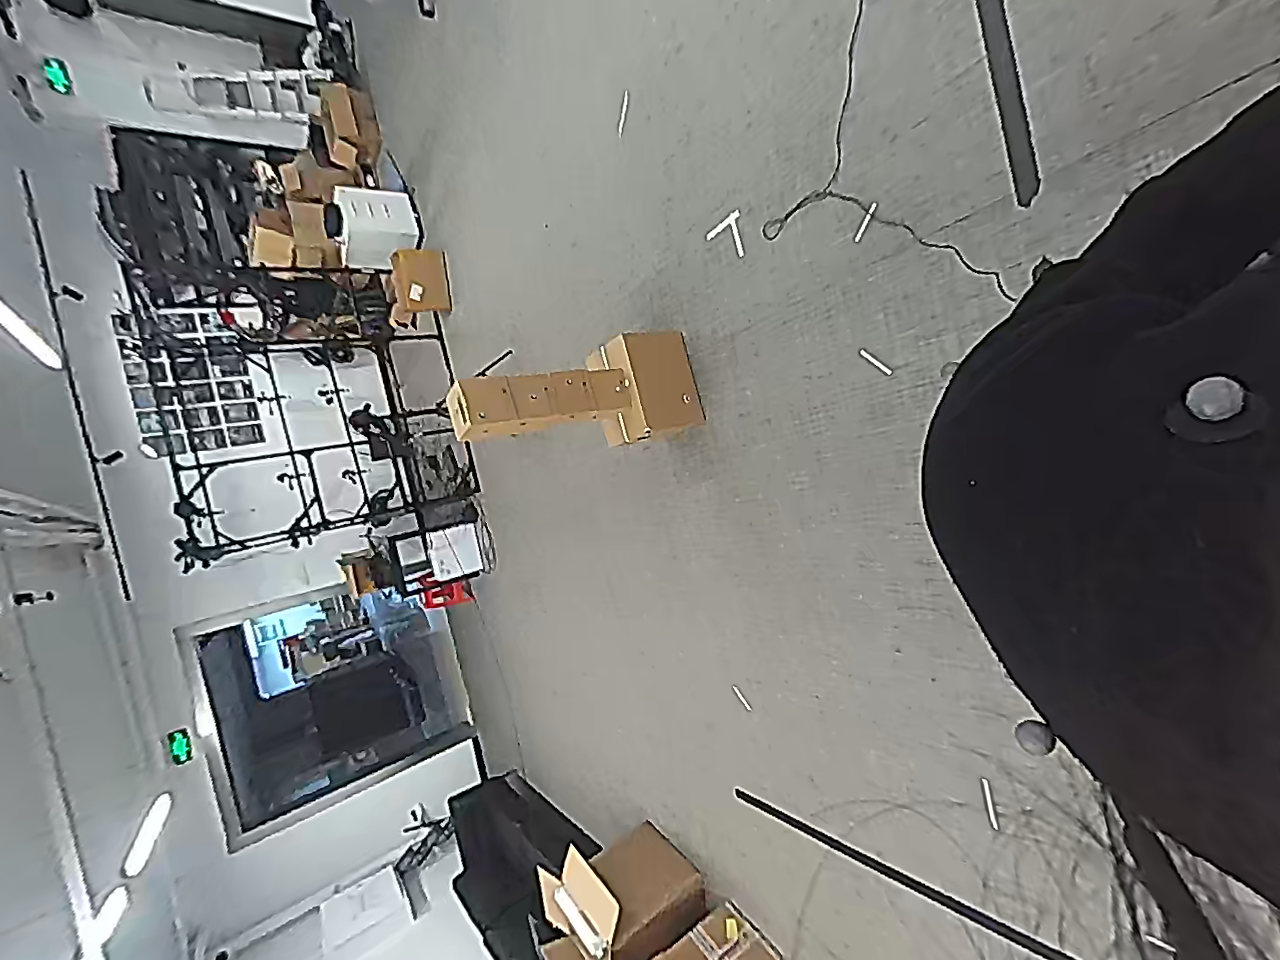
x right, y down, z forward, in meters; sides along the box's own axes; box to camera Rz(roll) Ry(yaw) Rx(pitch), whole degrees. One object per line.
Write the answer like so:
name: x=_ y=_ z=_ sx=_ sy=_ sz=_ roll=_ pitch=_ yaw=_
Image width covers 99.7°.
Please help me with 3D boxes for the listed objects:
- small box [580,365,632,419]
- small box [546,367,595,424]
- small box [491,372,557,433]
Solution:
small box: x=-0.157 y=-0.349 z=2.156 sx=0.179 sy=0.176 sz=0.168 roll=-17 pitch=88 yaw=55
small box: x=-0.285 y=-0.323 z=2.061 sx=0.179 sy=0.176 sz=0.168 roll=-20 pitch=84 yaw=56
small box: x=-0.418 y=-0.285 z=1.970 sx=0.179 sy=0.176 sz=0.168 roll=-26 pitch=78 yaw=55
